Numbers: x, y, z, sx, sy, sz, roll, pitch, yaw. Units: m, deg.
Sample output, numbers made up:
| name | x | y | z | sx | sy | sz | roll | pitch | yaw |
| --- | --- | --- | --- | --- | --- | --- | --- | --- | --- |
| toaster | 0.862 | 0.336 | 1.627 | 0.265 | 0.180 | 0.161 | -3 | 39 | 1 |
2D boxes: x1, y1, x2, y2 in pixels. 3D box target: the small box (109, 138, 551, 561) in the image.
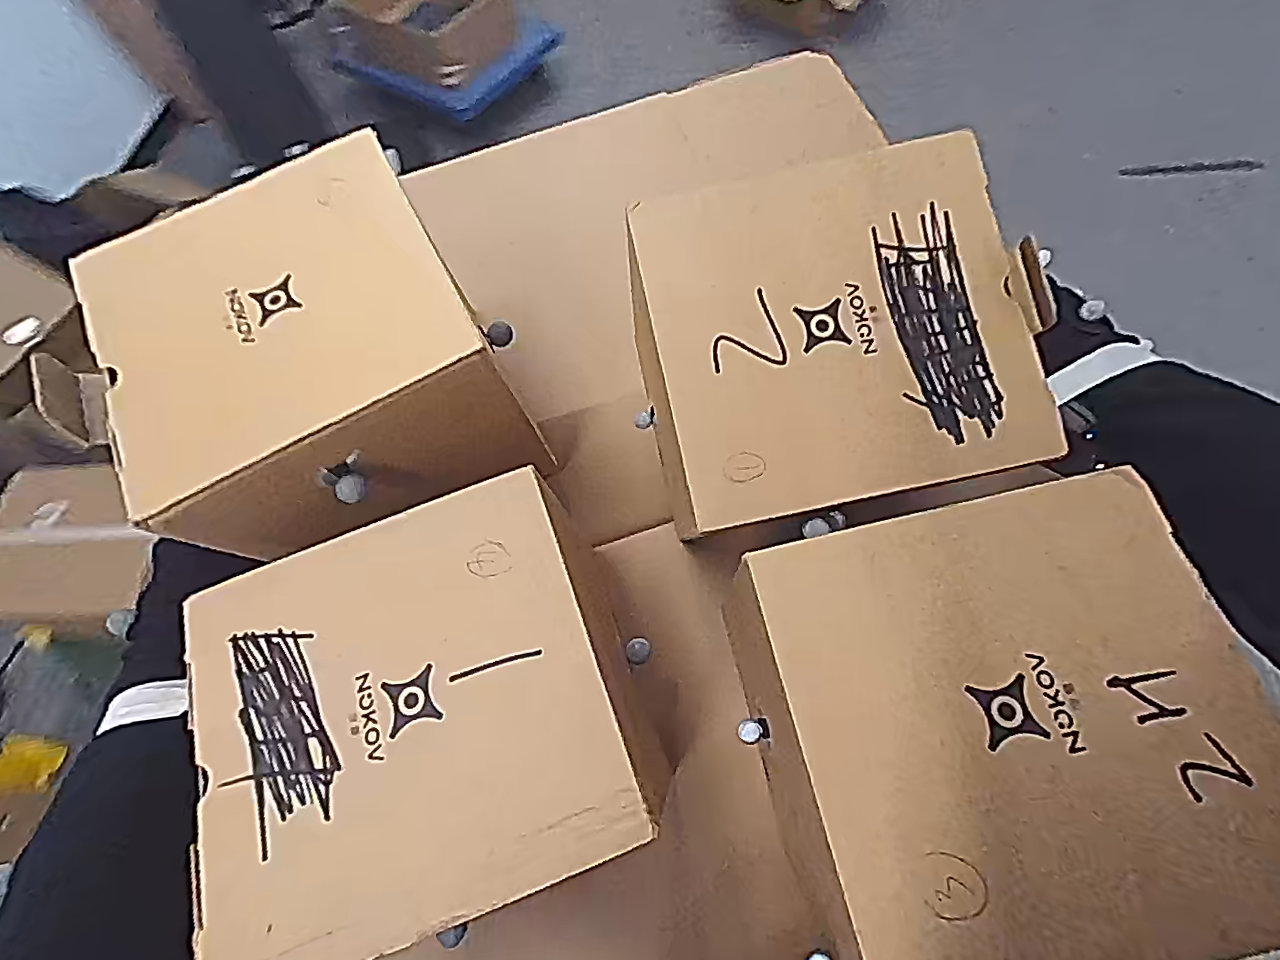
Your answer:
| name | x | y | z | sx | sy | sz | roll | pitch | yaw |
| --- | --- | --- | --- | --- | --- | --- | --- | --- | --- |
| small box | -0.173 | -0.066 | 0.355 | 0.179 | 0.176 | 0.168 | -28 | 71 | -4 |
